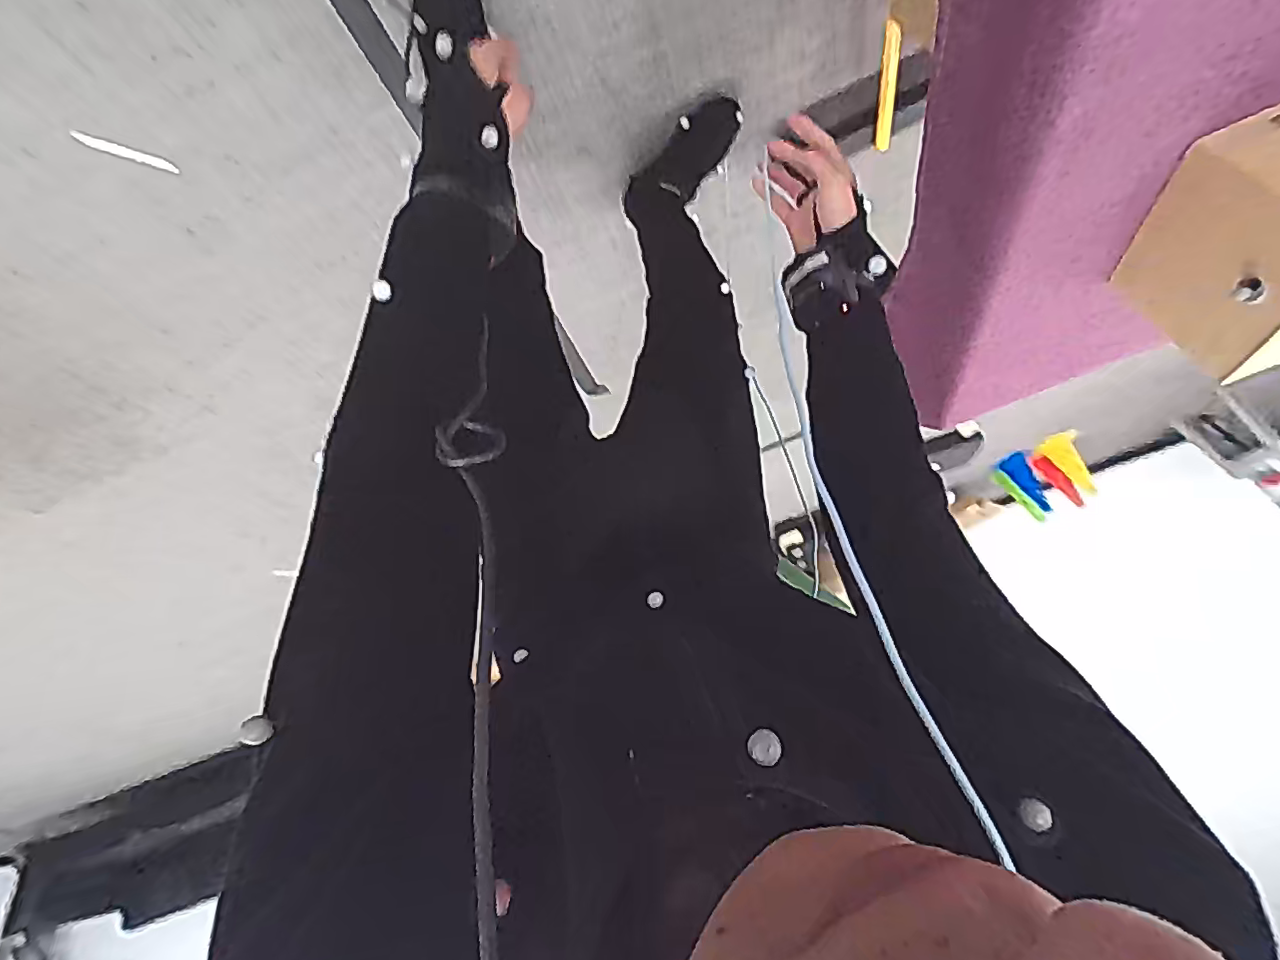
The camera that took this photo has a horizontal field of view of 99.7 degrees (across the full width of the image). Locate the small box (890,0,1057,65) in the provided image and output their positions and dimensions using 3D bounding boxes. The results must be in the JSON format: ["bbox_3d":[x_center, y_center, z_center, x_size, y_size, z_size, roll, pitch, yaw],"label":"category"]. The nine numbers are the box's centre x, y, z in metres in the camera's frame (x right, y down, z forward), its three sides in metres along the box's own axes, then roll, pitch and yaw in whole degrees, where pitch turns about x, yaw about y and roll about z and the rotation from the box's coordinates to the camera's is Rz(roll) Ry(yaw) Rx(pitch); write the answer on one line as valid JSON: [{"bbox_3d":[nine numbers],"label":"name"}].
[{"bbox_3d":[0.495,-0.767,0.793,0.179,0.176,0.168,-23,150,6],"label":"small box"}]

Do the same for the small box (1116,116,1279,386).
[{"bbox_3d":[0.615,-0.228,0.508,0.168,0.176,0.179,-22,150,8],"label":"small box"}]
